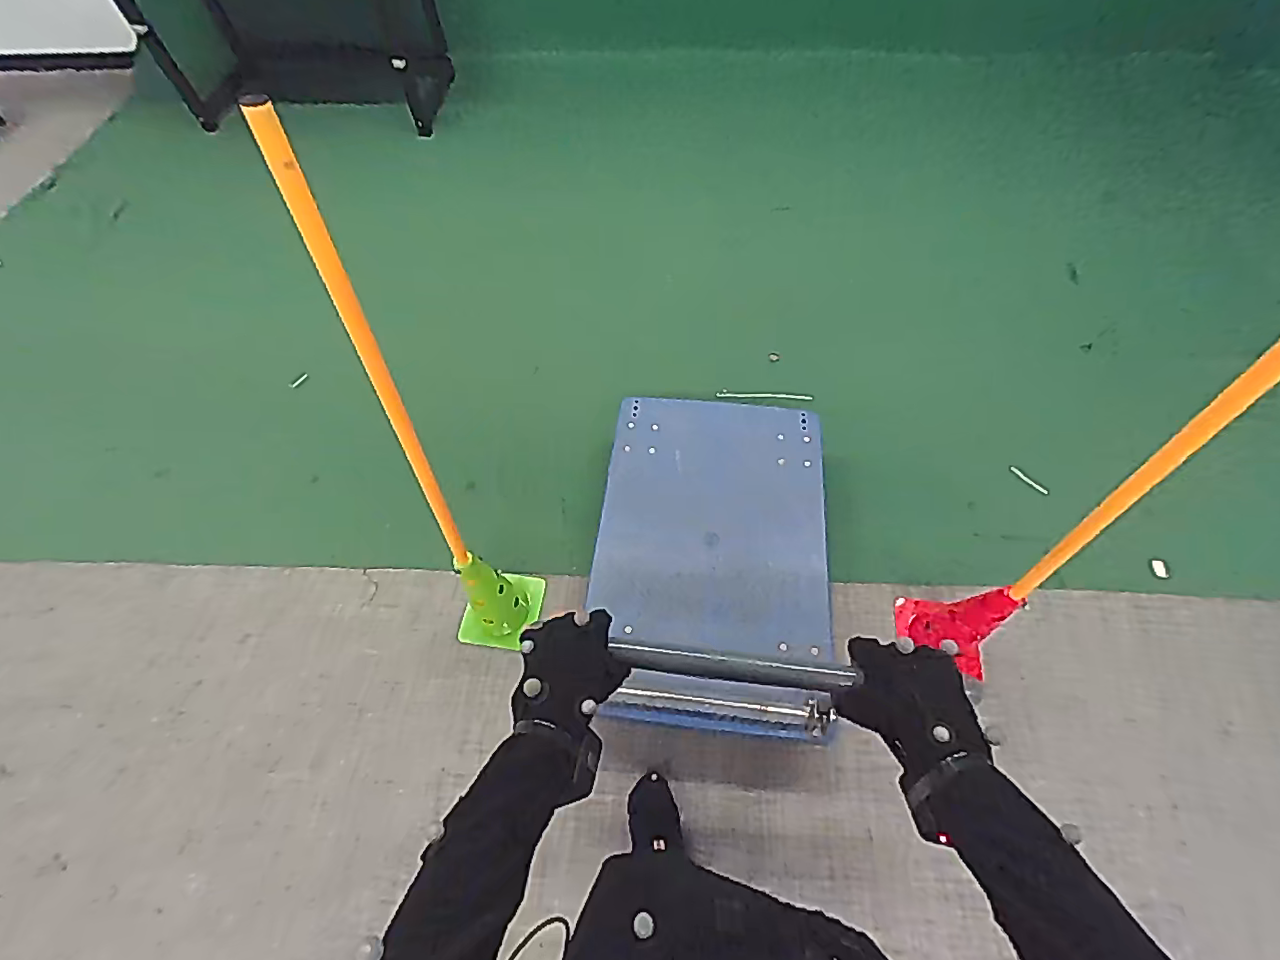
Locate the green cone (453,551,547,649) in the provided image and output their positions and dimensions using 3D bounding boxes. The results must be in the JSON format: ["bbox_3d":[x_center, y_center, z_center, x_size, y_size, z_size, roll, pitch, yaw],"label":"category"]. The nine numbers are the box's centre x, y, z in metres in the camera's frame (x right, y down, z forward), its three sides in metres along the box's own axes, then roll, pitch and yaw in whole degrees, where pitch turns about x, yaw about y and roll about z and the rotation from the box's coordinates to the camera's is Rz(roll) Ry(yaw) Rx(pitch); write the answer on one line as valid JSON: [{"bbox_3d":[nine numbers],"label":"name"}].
[{"bbox_3d":[-0.372,0.261,1.321,0.202,0.368,0.200,5,59,6],"label":"green cone"}]
